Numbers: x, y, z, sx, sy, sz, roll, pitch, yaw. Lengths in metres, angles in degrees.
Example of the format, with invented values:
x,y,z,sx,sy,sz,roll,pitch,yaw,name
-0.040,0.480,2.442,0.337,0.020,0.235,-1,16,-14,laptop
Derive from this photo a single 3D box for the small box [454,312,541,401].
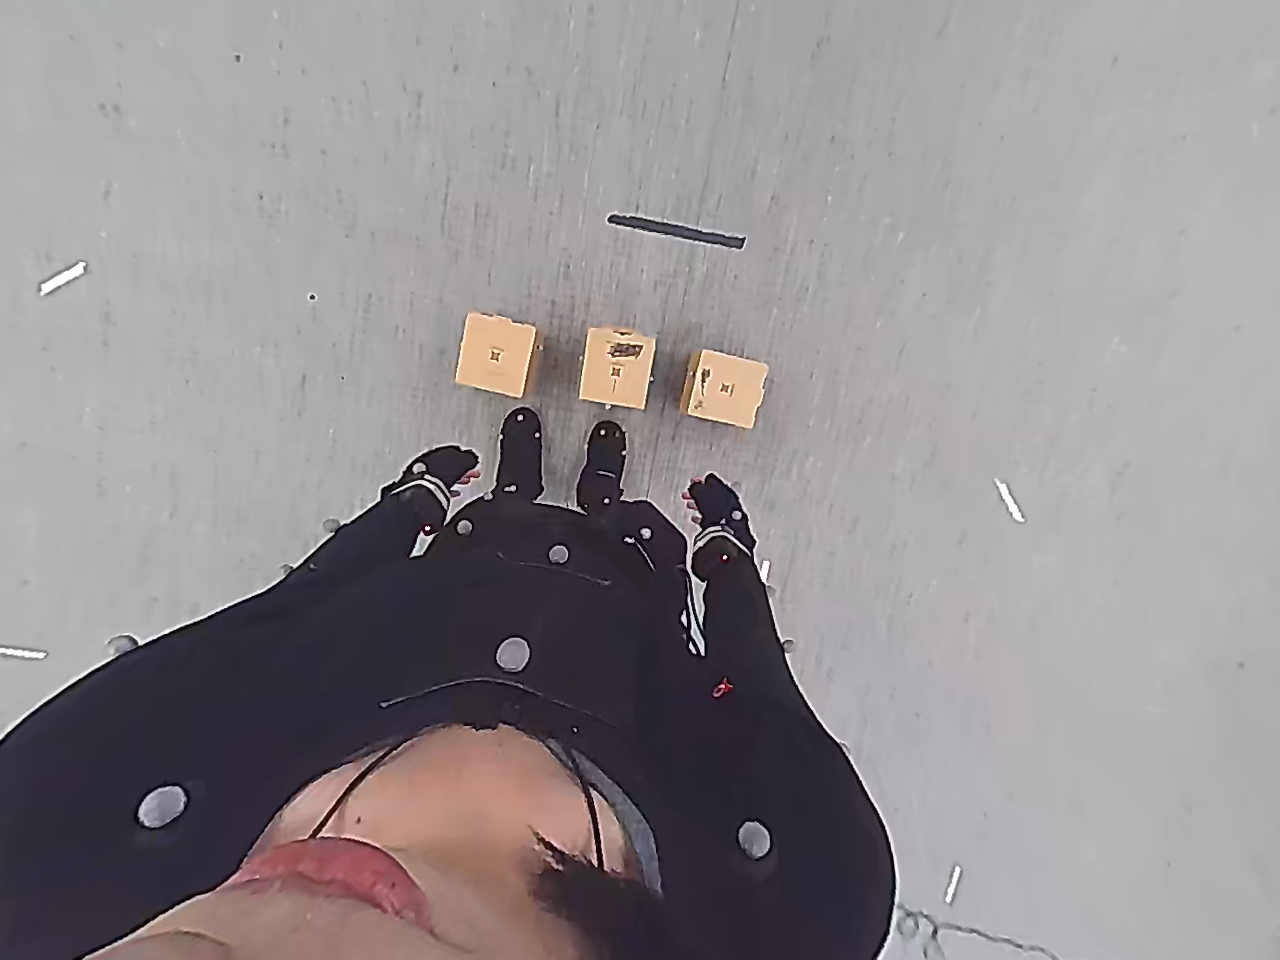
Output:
x,y,z,sx,sy,sz,roll,pitch,yaw,name
-0.350,-0.305,1.360,0.168,0.176,0.179,13,99,-5,small box

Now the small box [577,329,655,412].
x,y,z,sx,sy,sz,roll,pitch,yaw,name
-0.065,-0.276,1.384,0.168,0.176,0.179,9,99,-5,small box

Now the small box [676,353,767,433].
x,y,z,sx,sy,sz,roll,pitch,yaw,name
0.206,-0.229,1.414,0.179,0.176,0.168,12,99,-7,small box
